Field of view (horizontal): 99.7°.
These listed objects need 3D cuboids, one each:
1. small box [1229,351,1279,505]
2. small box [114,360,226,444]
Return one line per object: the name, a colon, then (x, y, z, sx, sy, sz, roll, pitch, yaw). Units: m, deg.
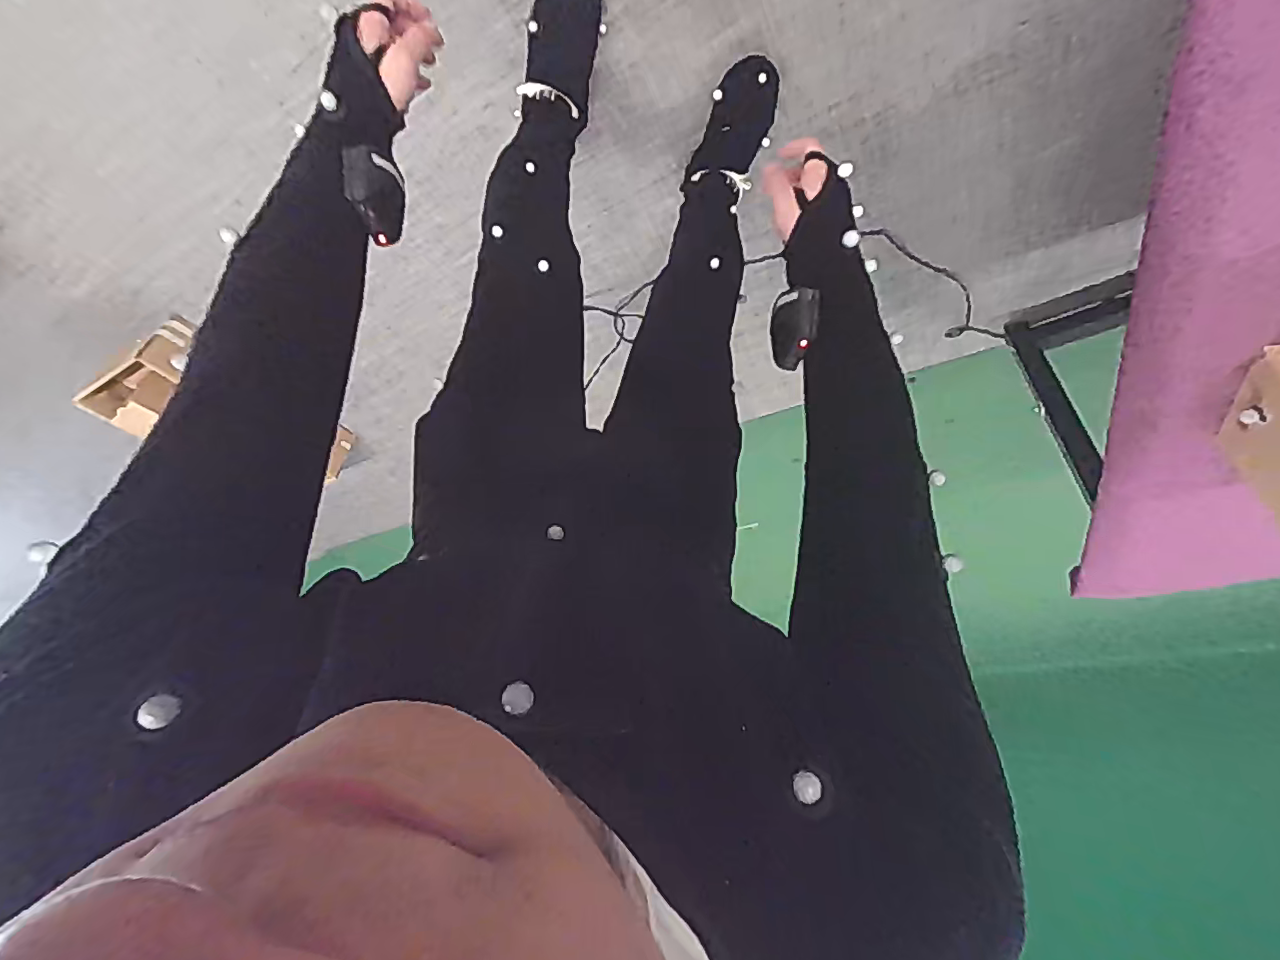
small box: (0.740, -0.051, 0.512, 0.179, 0.176, 0.168, -15, 141, 25)
small box: (-1.423, -0.243, 1.647, 0.168, 0.176, 0.179, -19, 141, 29)
